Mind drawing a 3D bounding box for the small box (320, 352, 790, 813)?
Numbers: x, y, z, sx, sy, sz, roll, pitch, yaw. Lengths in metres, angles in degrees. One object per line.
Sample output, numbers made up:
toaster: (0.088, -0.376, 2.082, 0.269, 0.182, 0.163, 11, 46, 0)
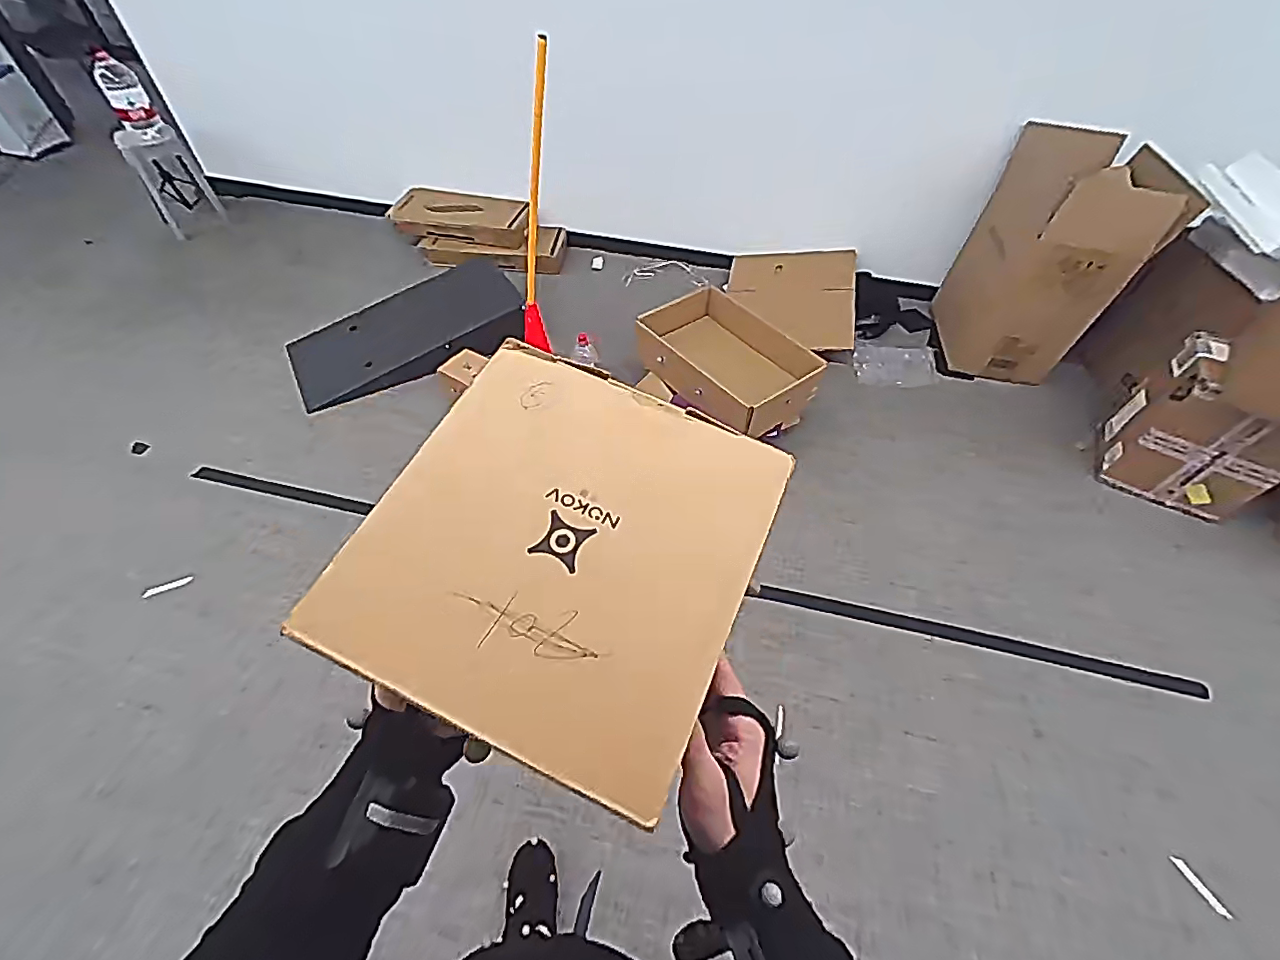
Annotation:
small box: (-0.035, 0.064, 0.326, 0.168, 0.176, 0.179, 24, 64, 8)
